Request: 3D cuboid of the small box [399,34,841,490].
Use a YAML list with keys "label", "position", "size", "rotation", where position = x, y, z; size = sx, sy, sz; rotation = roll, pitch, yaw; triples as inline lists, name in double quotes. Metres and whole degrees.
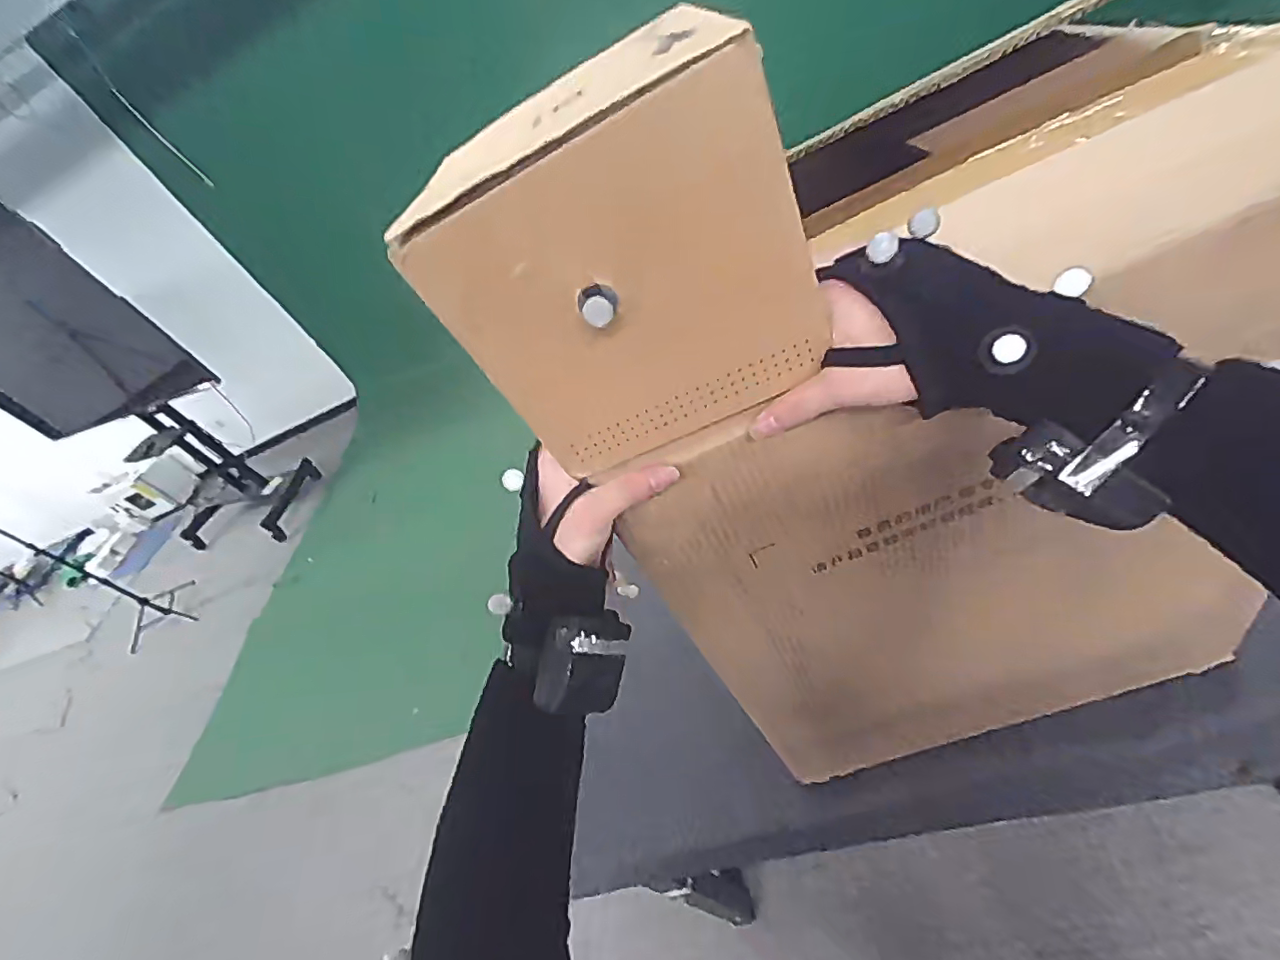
- label: "small box"
  position: [-0.003, -0.122, 0.329]
  size: [0.179, 0.176, 0.168]
  rotation: [-23, 42, 14]
